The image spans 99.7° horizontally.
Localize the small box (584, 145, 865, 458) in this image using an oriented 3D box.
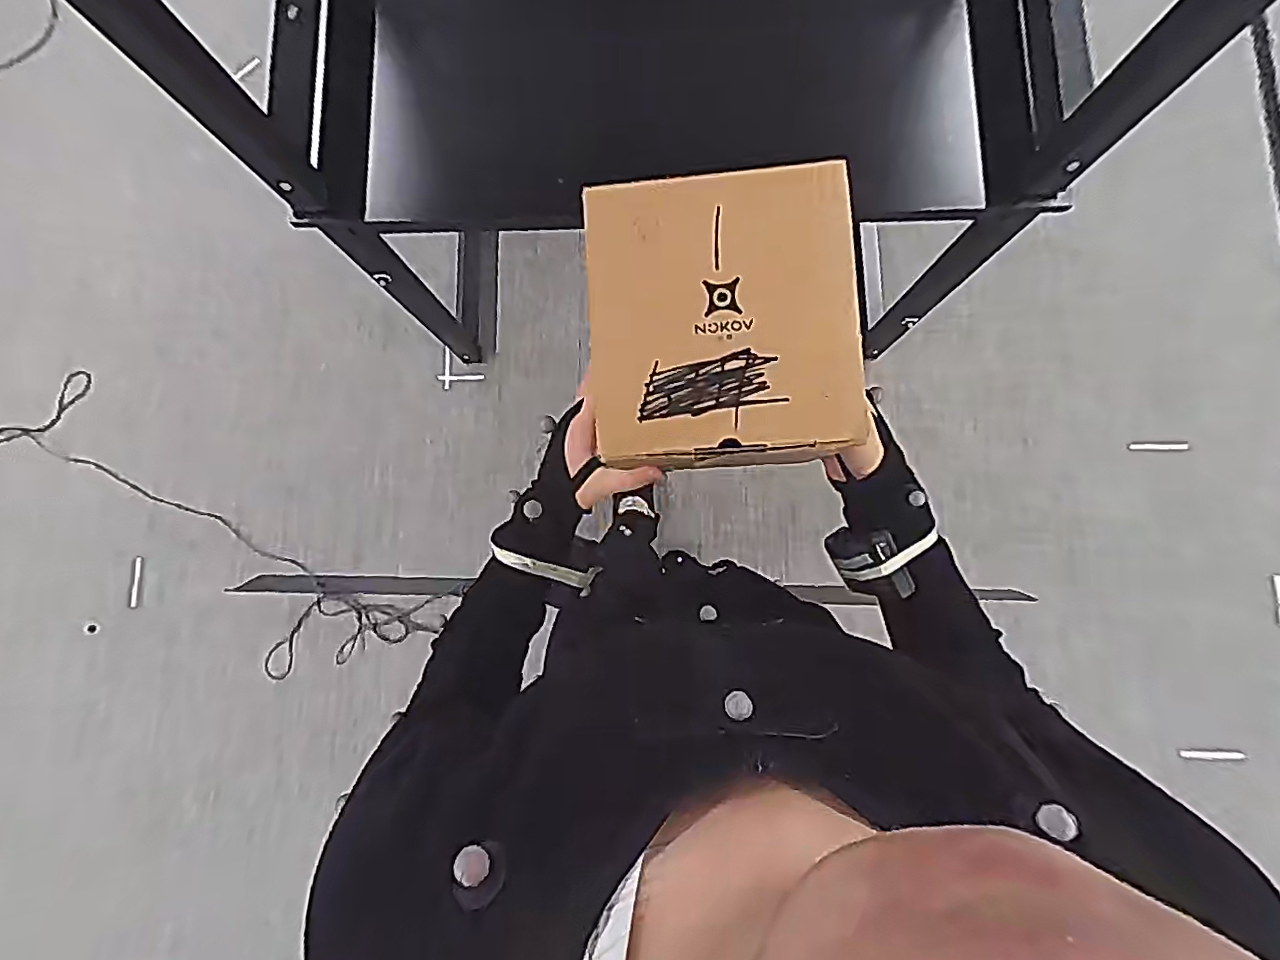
[{"bbox_3d":[0.056,-0.108,0.407,0.168,0.176,0.179,-3,87,5],"label":"small box"}]
